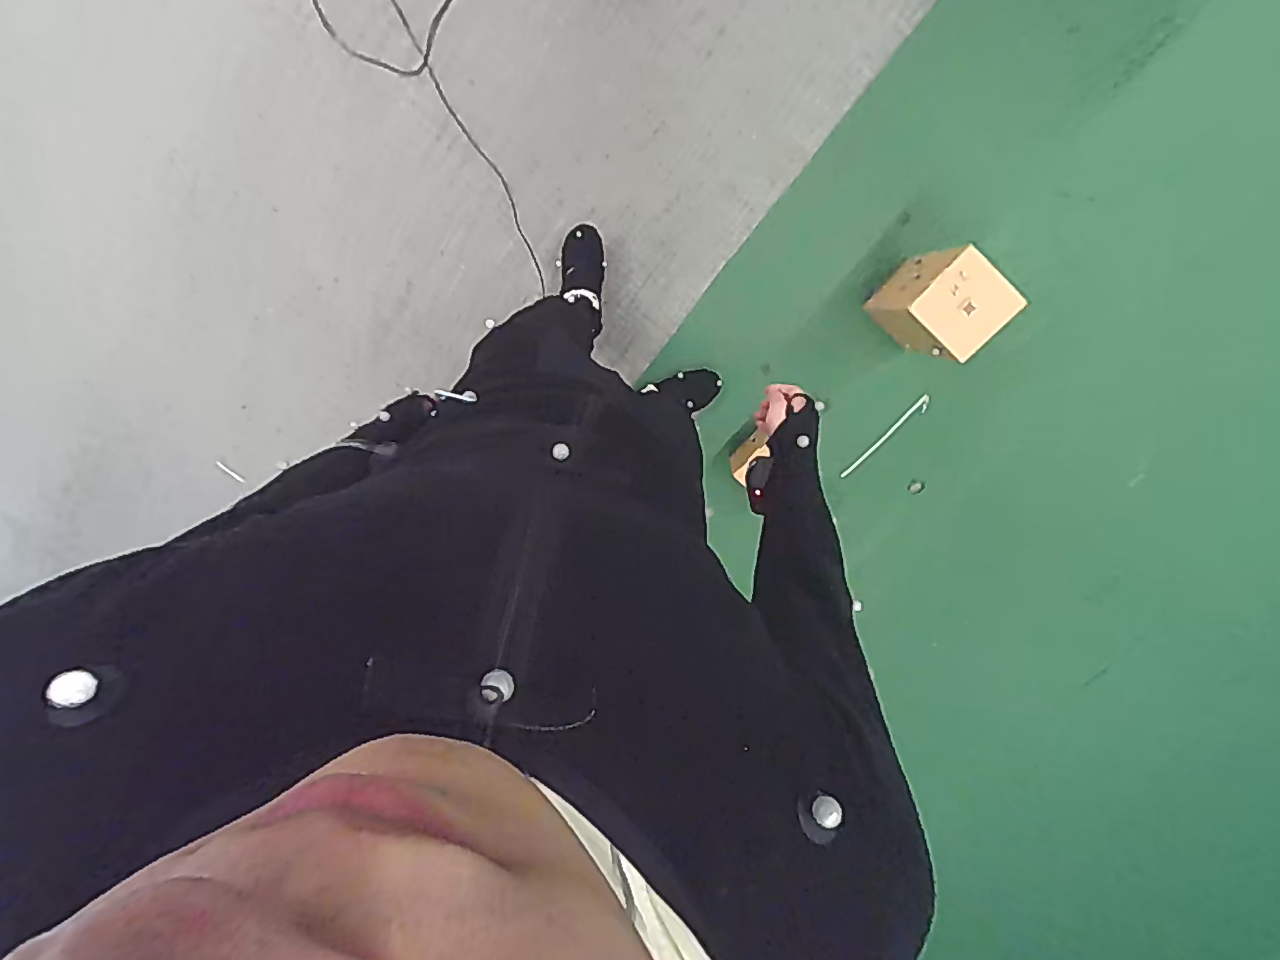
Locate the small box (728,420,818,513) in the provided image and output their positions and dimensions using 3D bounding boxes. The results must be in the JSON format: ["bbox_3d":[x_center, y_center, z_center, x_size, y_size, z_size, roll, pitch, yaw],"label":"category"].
[{"bbox_3d":[0.365,-0.045,1.515,0.179,0.176,0.168,40,108,-7],"label":"small box"}]

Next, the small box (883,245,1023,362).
[{"bbox_3d":[0.676,-0.388,1.190,0.179,0.176,0.168,41,107,-8],"label":"small box"}]
